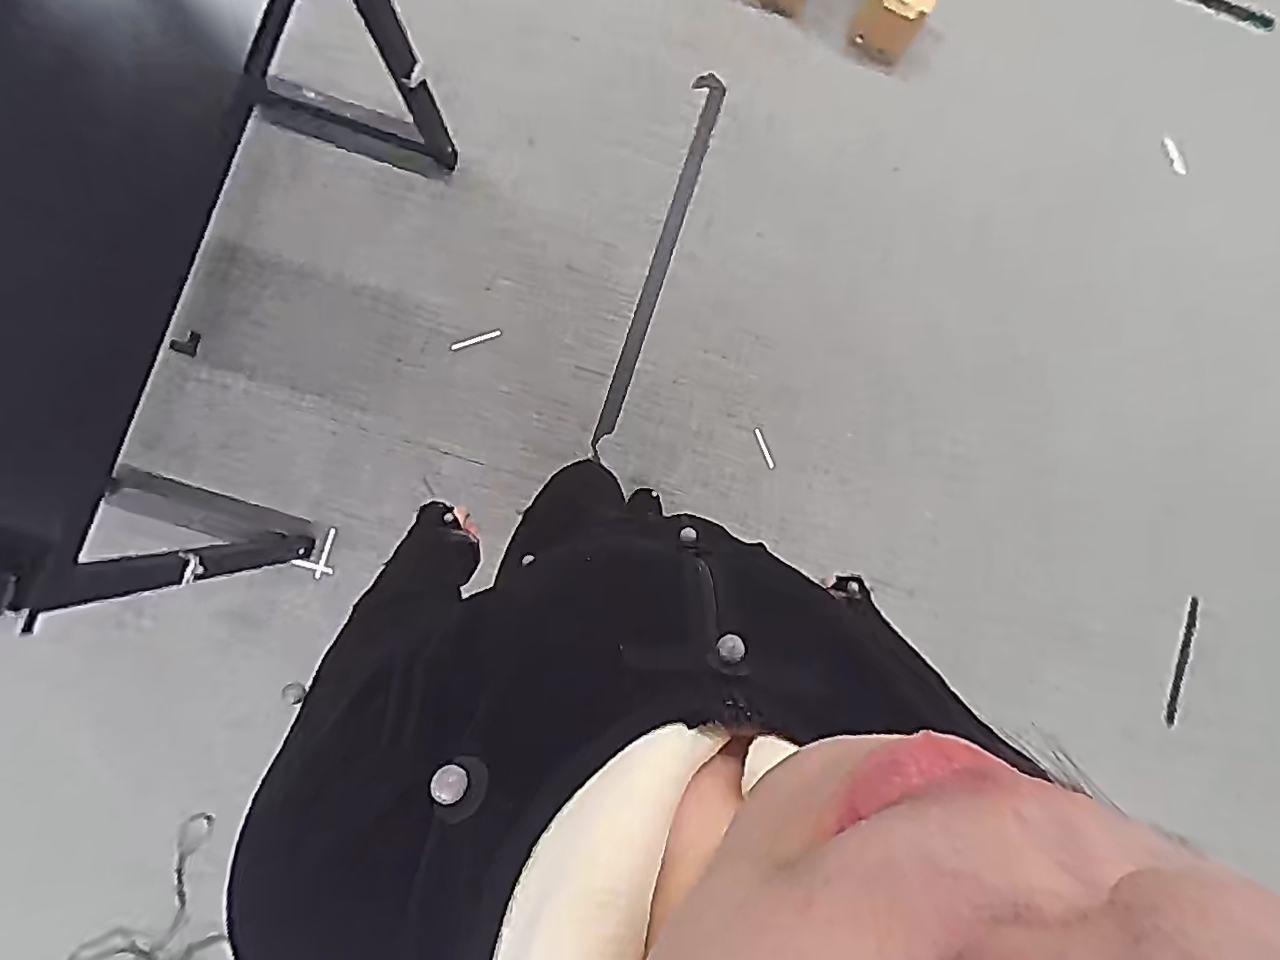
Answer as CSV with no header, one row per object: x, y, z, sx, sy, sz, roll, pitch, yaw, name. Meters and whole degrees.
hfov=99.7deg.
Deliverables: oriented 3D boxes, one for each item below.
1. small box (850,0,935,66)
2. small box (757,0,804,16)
0.723,-1.336,1.532,0.168,0.176,0.179,24,85,-3,small box
0.418,-1.464,1.512,0.179,0.176,0.168,23,86,-4,small box
